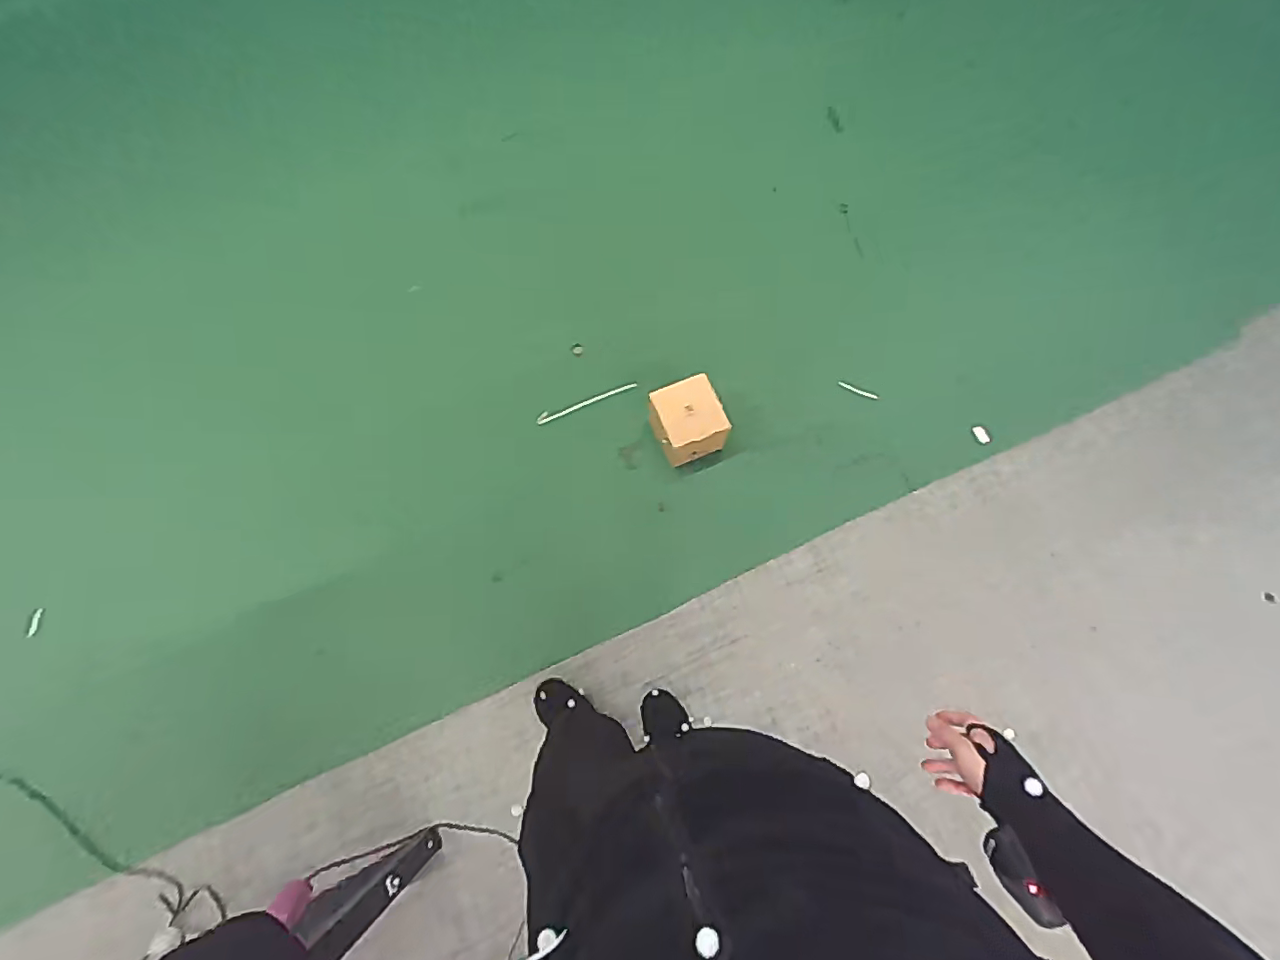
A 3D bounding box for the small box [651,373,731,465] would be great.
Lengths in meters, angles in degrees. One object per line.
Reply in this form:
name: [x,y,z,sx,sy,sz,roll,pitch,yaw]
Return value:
small box: [0.135,-0.167,1.526,0.168,0.176,0.179,-22,76,-6]
